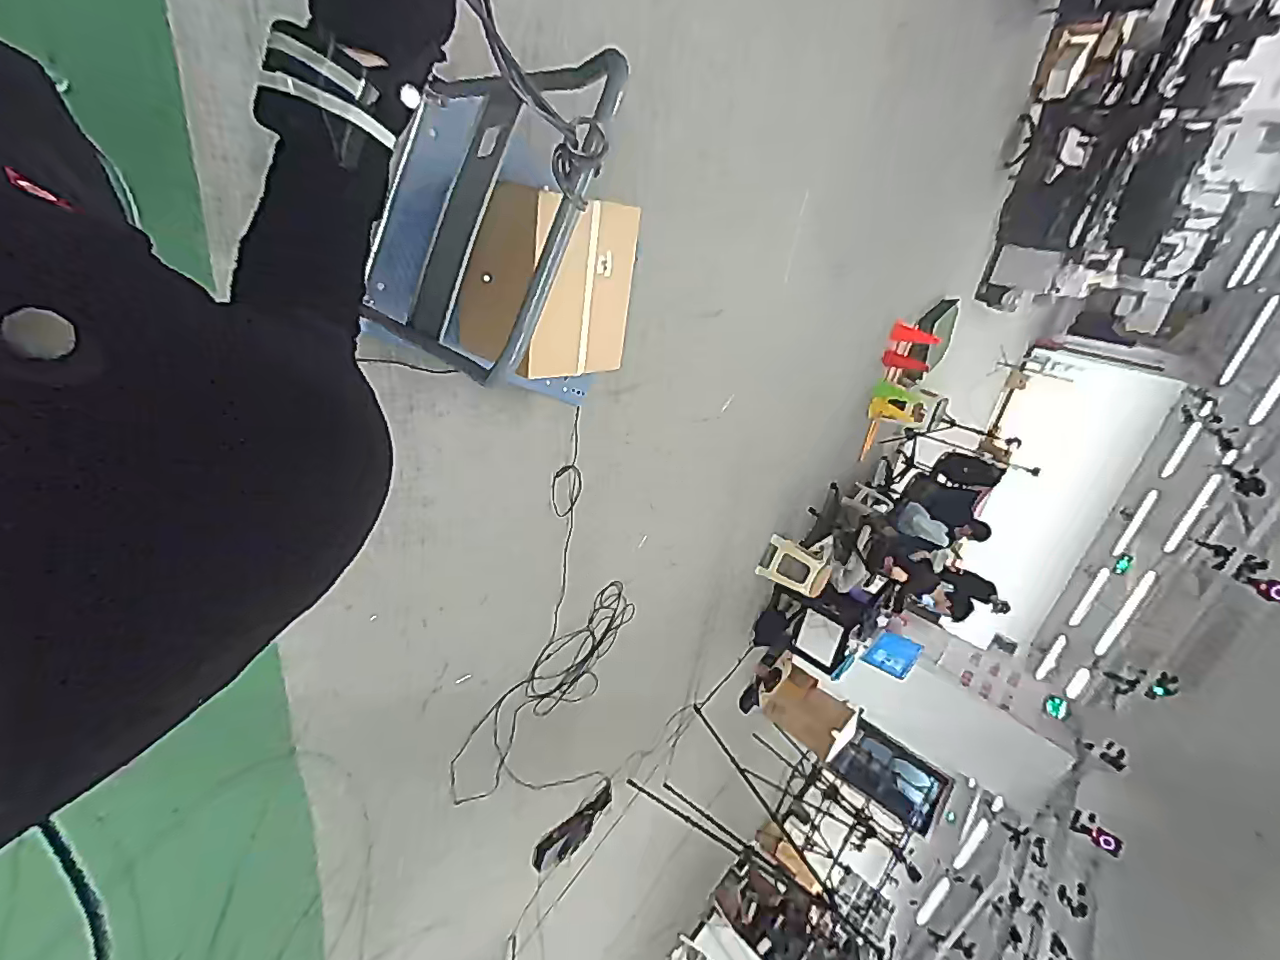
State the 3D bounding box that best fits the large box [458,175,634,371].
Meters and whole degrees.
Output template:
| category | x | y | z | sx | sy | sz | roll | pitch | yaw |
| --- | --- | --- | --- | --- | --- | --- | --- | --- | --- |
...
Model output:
| category | x | y | z | sx | sy | sz | roll | pitch | yaw |
| --- | --- | --- | --- | --- | --- | --- | --- | --- | --- |
| large box | -0.251 | -0.524 | 1.385 | 0.320 | 0.320 | 0.408 | -18 | 126 | -45 |
